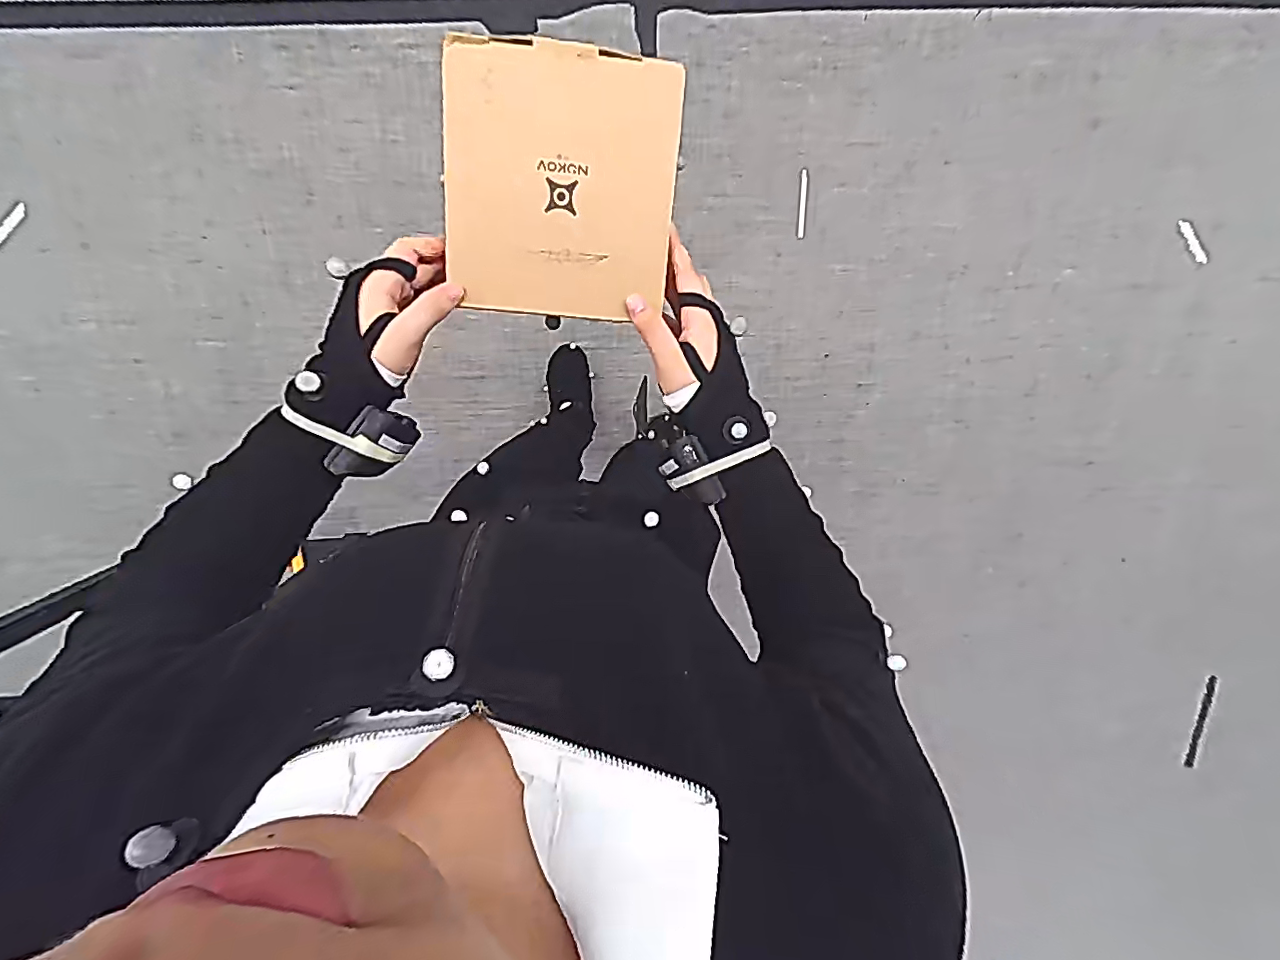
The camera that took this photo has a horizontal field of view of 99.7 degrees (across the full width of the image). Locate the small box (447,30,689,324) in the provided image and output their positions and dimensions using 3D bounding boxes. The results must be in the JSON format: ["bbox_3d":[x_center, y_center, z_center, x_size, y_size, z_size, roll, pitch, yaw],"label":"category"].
[{"bbox_3d":[-0.060,-0.236,0.464,0.168,0.176,0.179,3,111,-5],"label":"small box"}]
